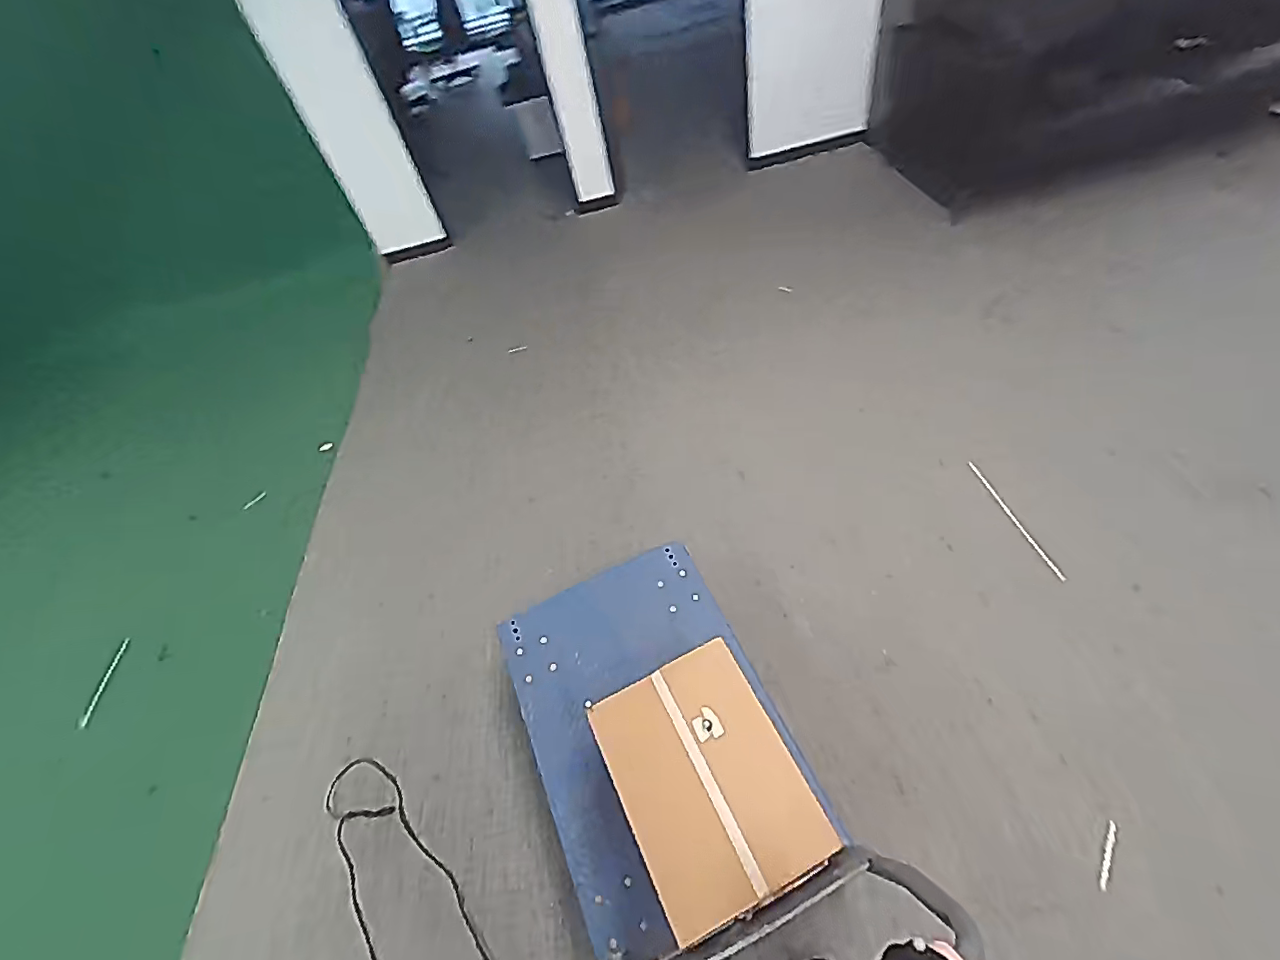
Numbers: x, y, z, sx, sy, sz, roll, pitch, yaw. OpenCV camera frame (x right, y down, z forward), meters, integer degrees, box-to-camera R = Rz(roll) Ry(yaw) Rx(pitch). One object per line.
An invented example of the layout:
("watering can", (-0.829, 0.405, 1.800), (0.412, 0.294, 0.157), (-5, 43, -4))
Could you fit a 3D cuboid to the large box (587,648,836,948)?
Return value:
("large box", (0.137, 0.638, 1.125), (0.320, 0.320, 0.408), (-26, 56, -9))
